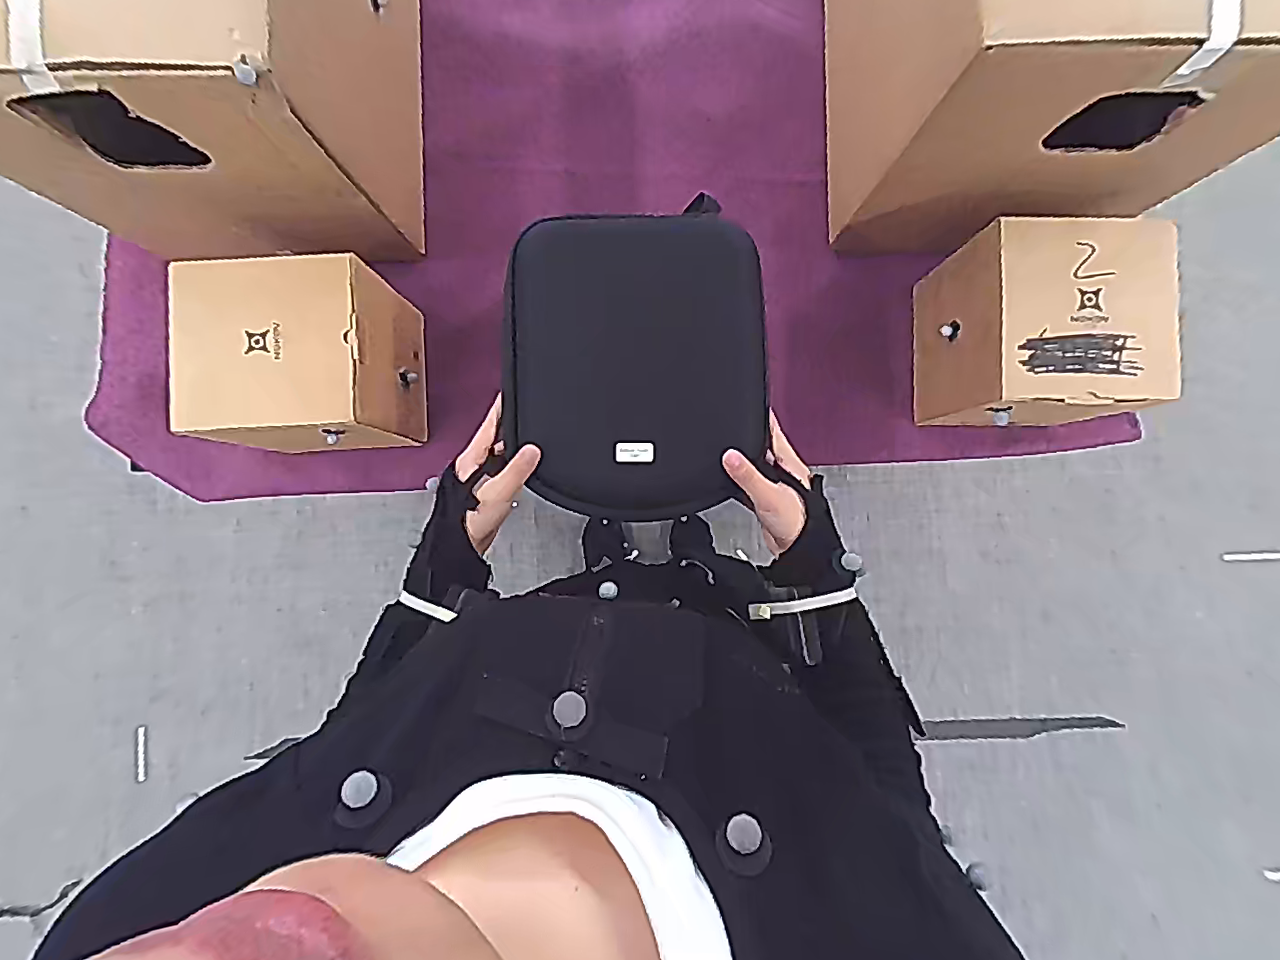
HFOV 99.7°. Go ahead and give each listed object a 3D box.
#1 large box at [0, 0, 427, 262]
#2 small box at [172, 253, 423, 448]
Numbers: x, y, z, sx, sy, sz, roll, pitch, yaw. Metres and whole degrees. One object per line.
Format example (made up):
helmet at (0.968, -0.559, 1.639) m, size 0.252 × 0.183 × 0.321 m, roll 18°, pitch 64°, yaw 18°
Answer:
large box at (-0.425, -0.474, 0.537) m, size 0.320 × 0.320 × 0.408 m, roll -2°, pitch 91°, yaw -1°
small box at (-0.361, -0.129, 0.596) m, size 0.179 × 0.176 × 0.168 m, roll -4°, pitch 87°, yaw -1°
